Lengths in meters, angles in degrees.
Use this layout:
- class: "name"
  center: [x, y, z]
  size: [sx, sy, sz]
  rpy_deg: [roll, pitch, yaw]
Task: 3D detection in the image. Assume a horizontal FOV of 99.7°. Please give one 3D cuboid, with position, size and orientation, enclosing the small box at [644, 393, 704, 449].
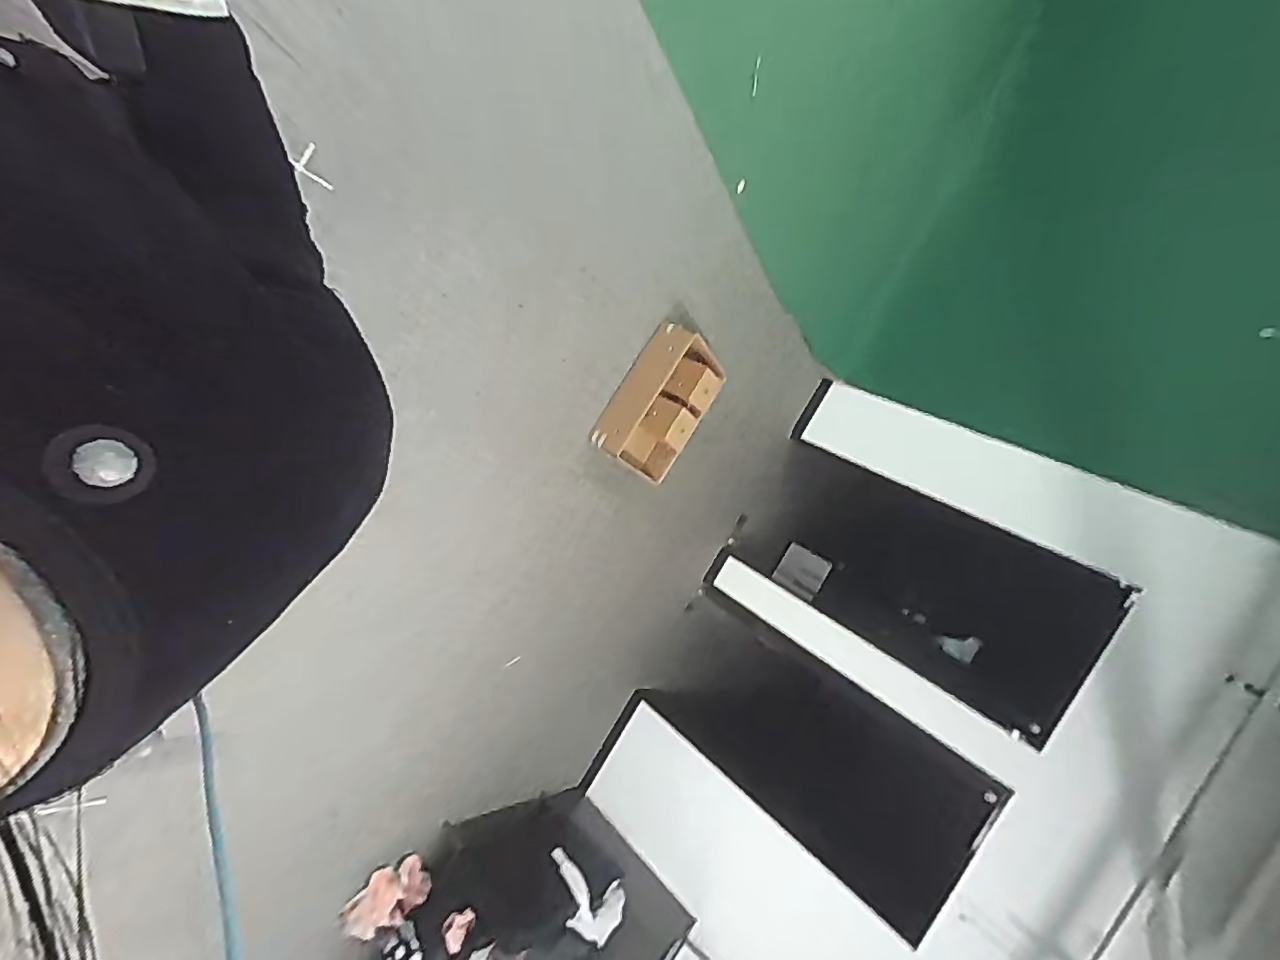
- class: "small box"
  center: [0.152, -0.269, 2.429]
  size: [0.168, 0.176, 0.179]
  rpy_deg: [-58, 145, -1]
